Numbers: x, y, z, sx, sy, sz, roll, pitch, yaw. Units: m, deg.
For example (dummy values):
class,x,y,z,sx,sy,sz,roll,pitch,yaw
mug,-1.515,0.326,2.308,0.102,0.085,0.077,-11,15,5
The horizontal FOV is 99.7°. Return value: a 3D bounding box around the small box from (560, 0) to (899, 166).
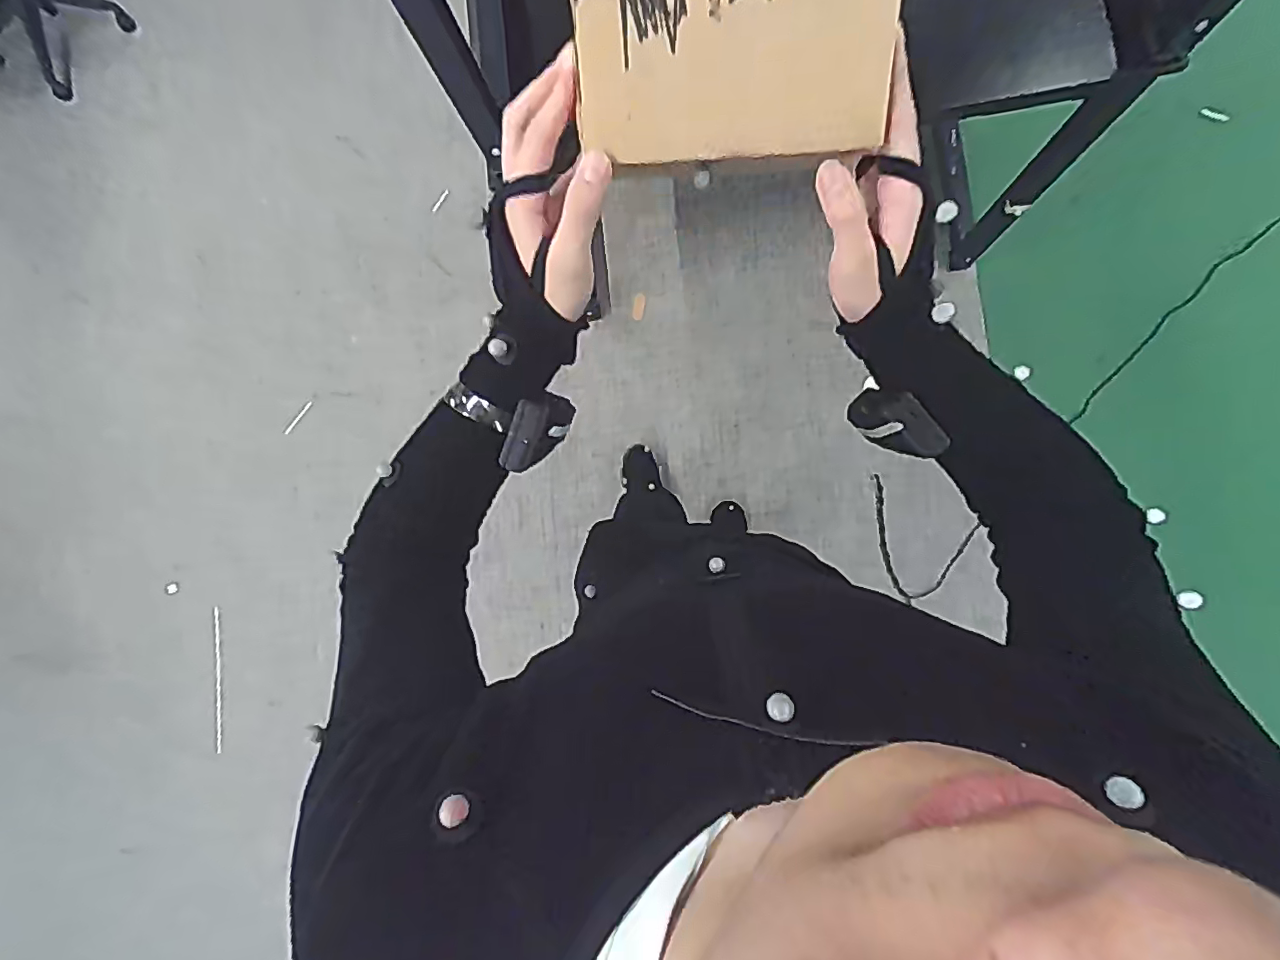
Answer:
class,x,y,z,sx,sy,sz,roll,pitch,yaw
small box,0.046,-0.300,0.339,0.179,0.176,0.168,-3,117,2
